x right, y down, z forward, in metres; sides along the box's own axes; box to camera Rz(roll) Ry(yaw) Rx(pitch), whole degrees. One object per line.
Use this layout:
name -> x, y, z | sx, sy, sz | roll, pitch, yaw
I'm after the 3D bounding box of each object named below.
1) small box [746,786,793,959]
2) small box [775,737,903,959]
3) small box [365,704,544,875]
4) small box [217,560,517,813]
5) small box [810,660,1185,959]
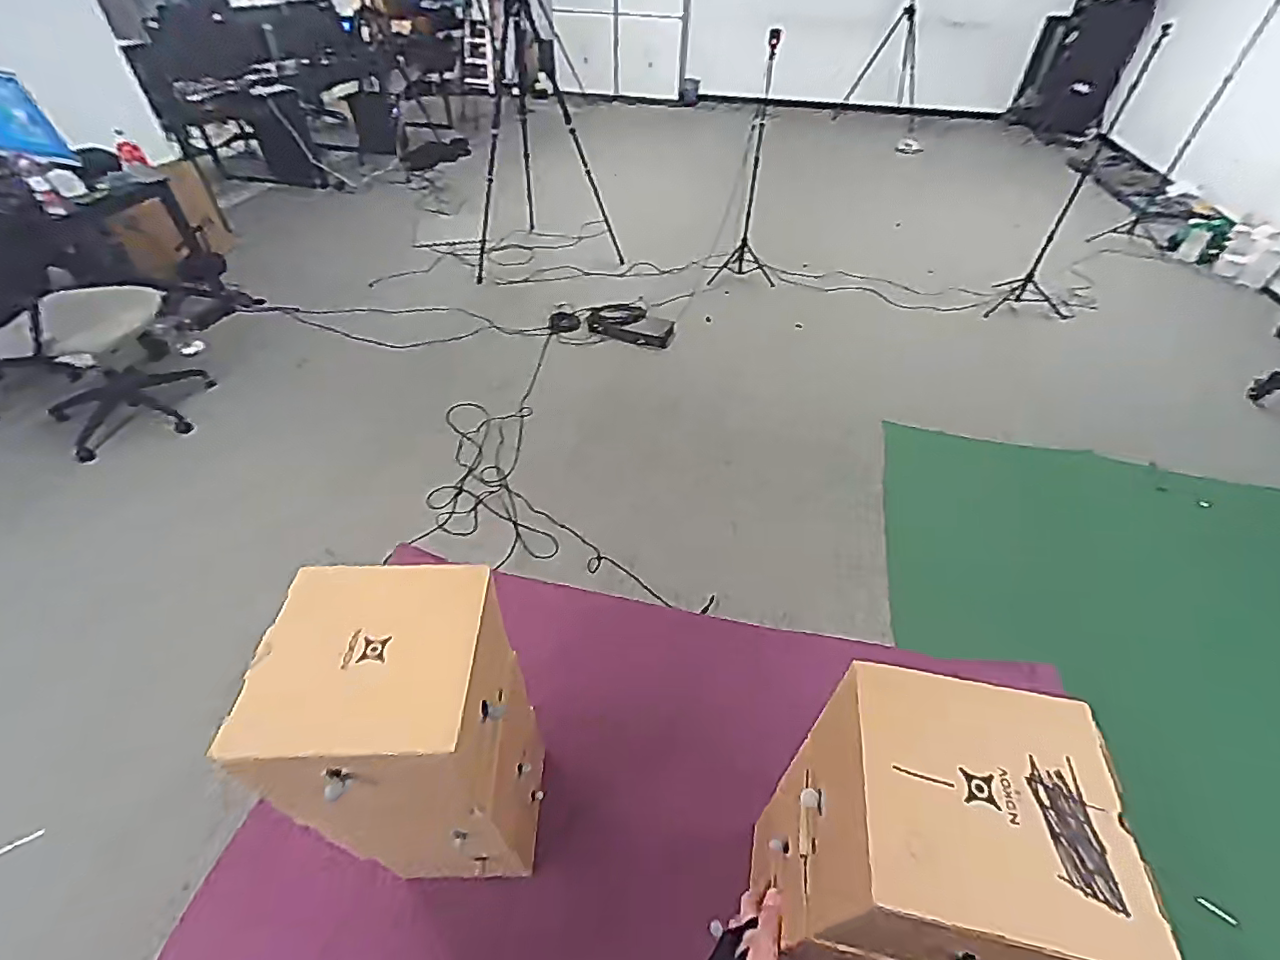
small box -> 0.232, 0.508, 0.657 | 0.179, 0.176, 0.168 | 12, 46, 10
small box -> 0.238, 0.391, 0.543 | 0.179, 0.176, 0.168 | 10, 46, 9
small box -> -0.229, 0.414, 0.727 | 0.179, 0.176, 0.168 | 1, 44, -1
small box -> -0.214, 0.189, 0.492 | 0.179, 0.176, 0.168 | 0, 46, -3
small box -> 0.245, 0.272, 0.428 | 0.179, 0.176, 0.168 | 10, 45, 8
